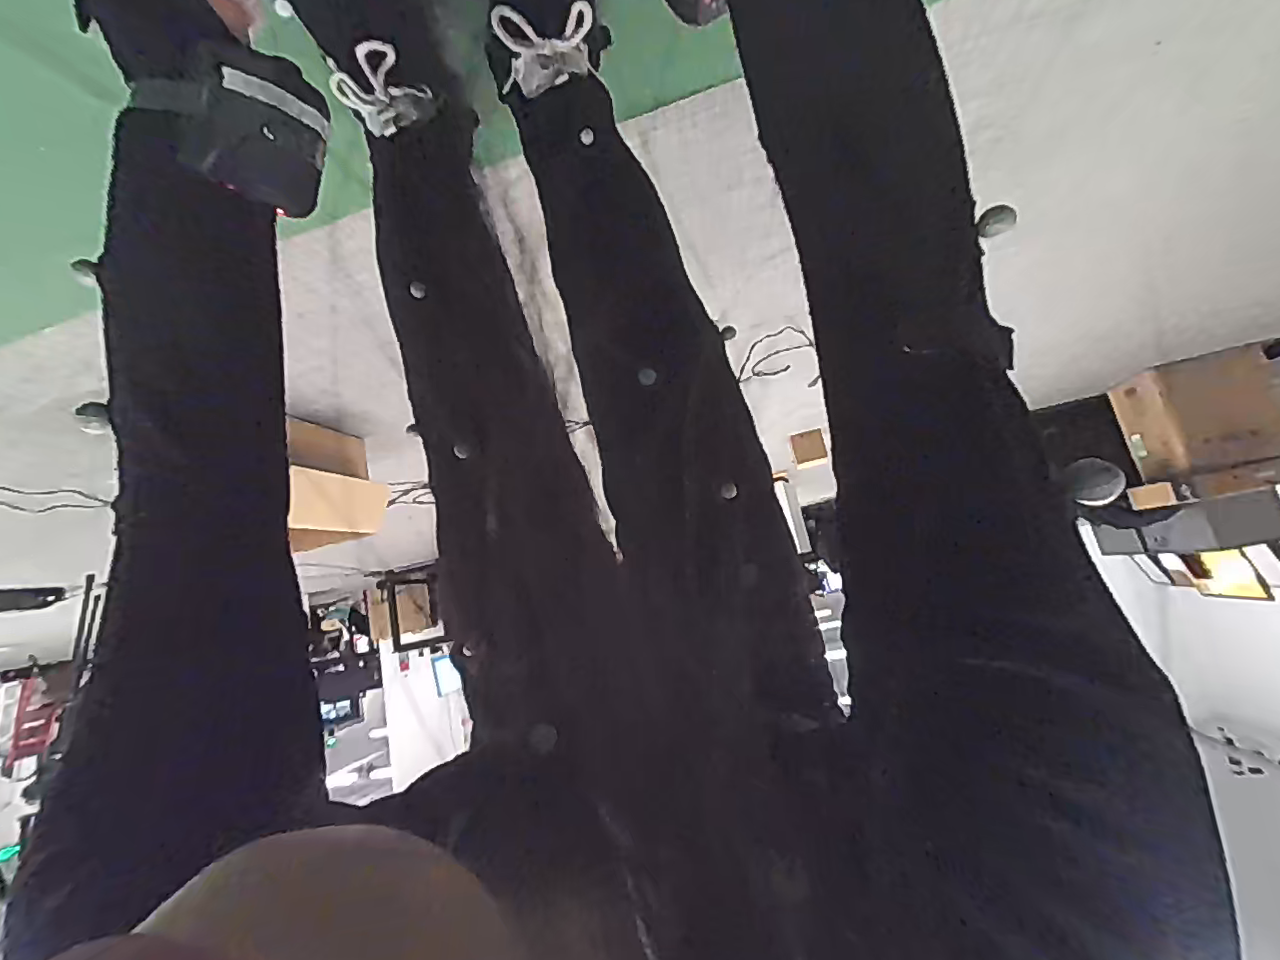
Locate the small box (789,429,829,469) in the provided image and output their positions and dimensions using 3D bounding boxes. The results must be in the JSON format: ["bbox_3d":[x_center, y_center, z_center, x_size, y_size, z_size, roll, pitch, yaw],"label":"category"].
[{"bbox_3d":[0.916,-0.170,2.937,0.168,0.176,0.179,-15,169,12],"label":"small box"}]
